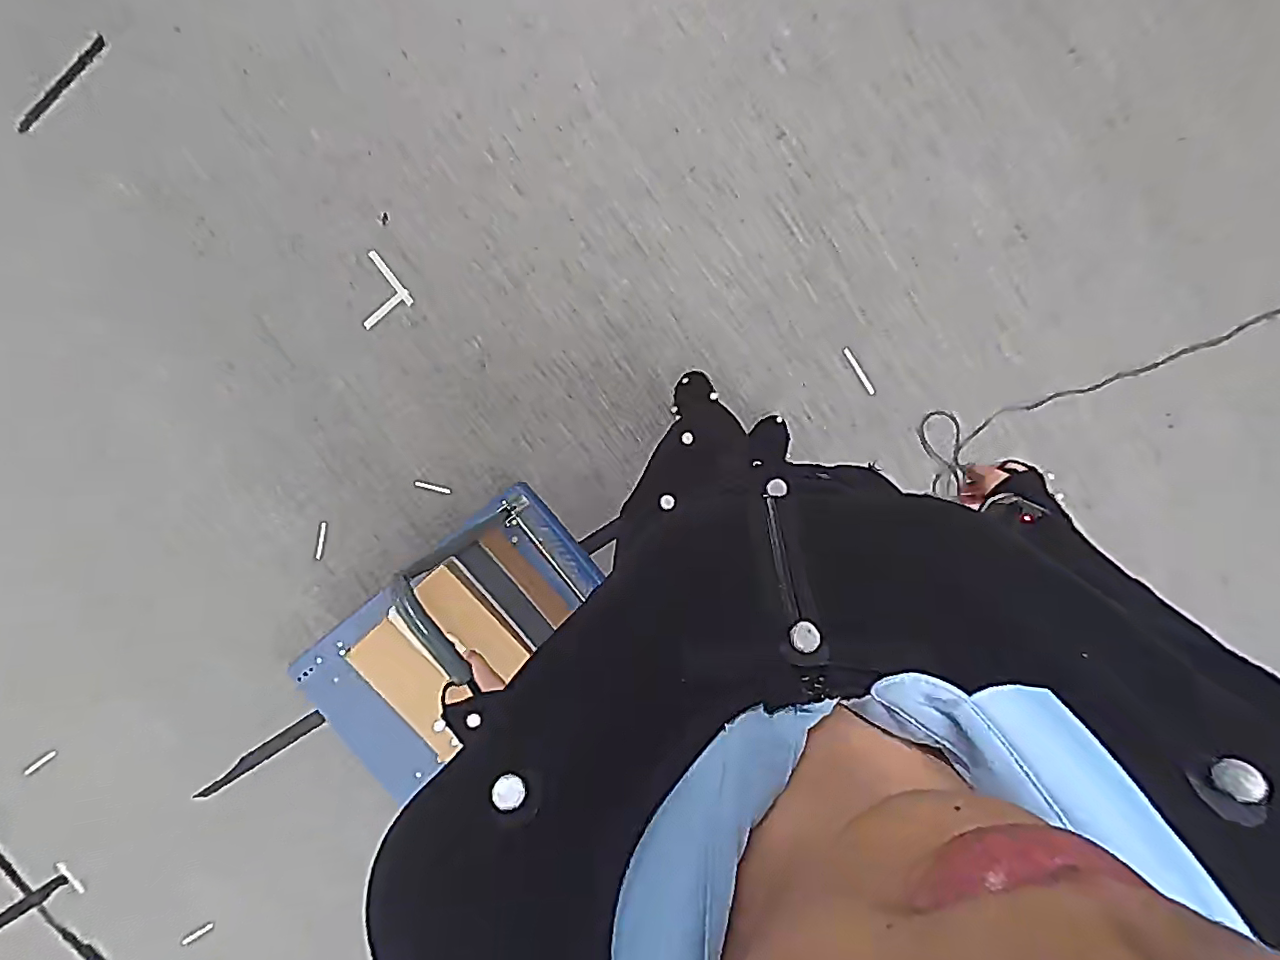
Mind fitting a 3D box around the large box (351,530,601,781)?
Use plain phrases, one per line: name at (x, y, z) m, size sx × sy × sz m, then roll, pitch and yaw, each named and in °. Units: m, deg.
large box at (-0.354, 0.388, 1.273) m, size 0.320 × 0.320 × 0.408 m, roll -42°, pitch 93°, yaw 8°
